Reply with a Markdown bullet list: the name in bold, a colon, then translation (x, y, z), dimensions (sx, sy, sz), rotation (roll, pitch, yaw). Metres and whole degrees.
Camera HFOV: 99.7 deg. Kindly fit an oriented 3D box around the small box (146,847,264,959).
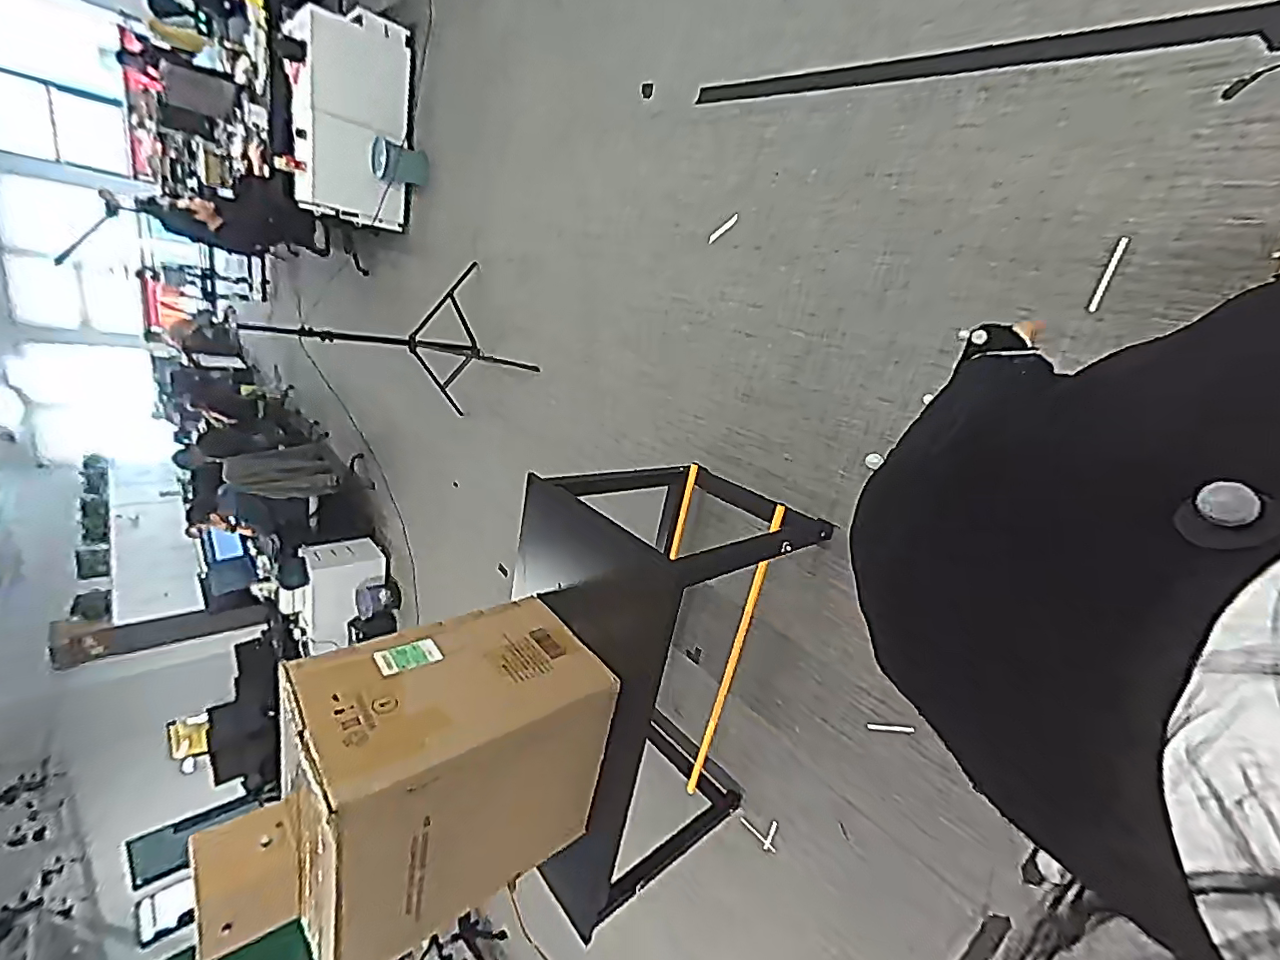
- **small box**: translation (-0.854, 0.886, 1.066), dimensions (0.168, 0.176, 0.179), rotation (31, 116, 42)
